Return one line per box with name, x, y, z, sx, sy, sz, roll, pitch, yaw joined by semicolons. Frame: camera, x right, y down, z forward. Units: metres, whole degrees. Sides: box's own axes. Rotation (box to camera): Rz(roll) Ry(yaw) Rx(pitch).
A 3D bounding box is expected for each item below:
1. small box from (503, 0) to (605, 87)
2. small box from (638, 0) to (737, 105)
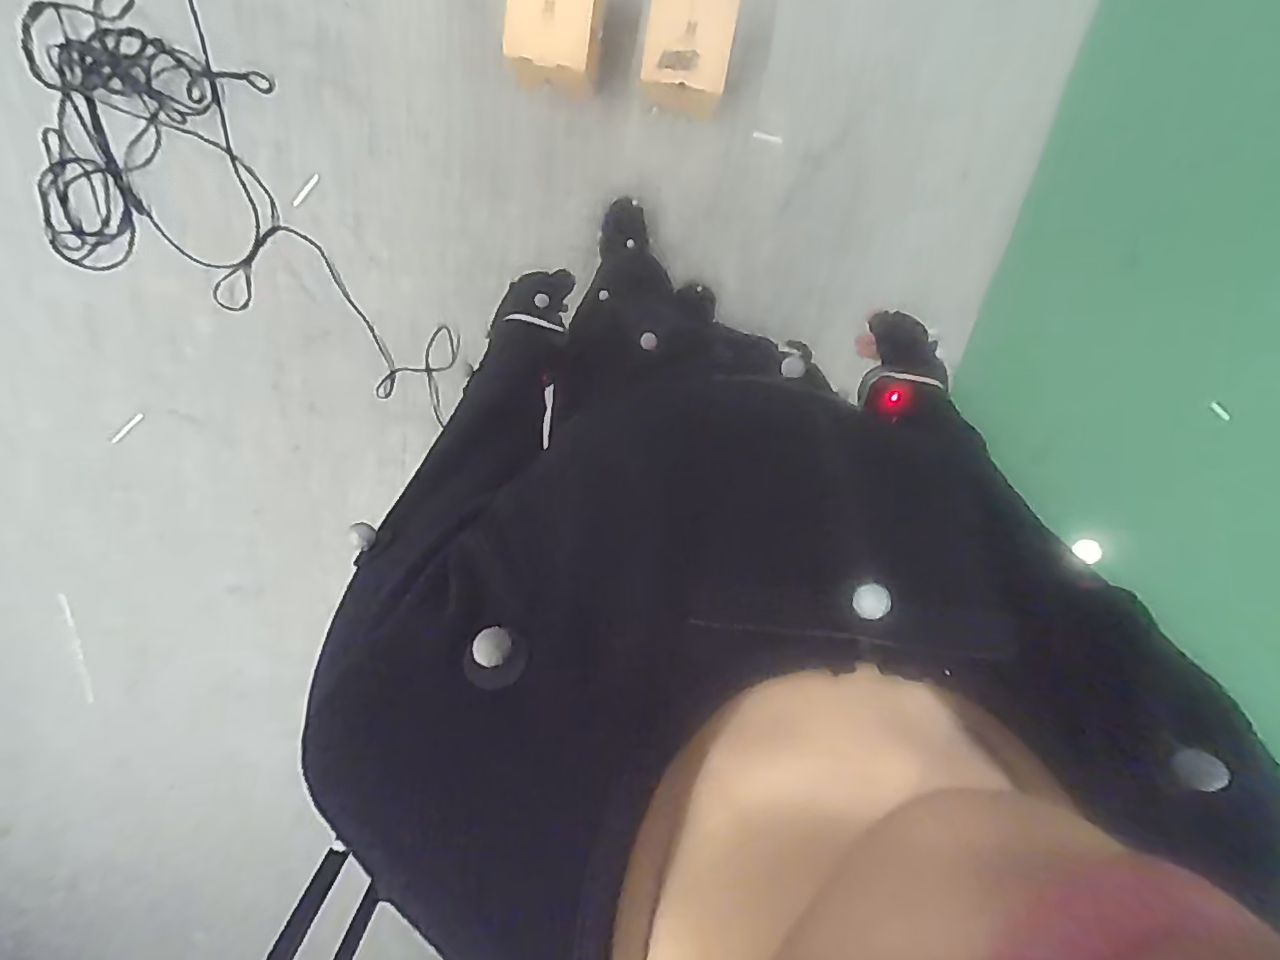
small box;-0.167;-0.932;1.089;0.168;0.176;0.179;11;111;-1
small box;0.096;-0.888;1.090;0.168;0.176;0.179;10;110;-1
